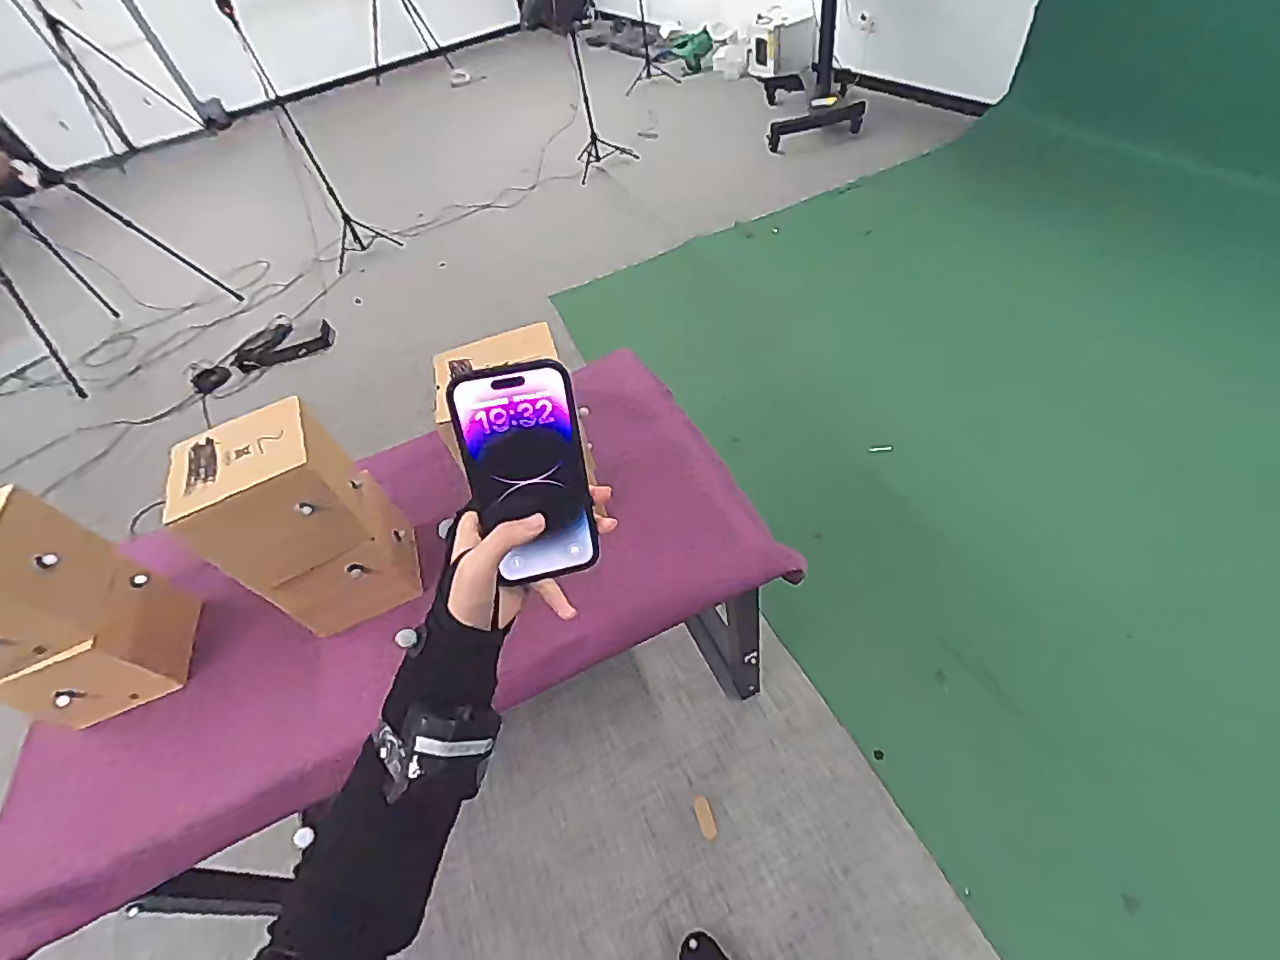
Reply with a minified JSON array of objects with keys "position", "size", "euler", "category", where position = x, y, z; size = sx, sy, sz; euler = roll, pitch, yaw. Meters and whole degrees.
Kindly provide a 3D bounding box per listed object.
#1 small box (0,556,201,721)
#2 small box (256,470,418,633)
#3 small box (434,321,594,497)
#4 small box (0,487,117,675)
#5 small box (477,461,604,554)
[{"position":[-0.849,0.259,0.858],"size":[0.168,0.176,0.179],"euler":[-23,49,-7],"category":"small box"},{"position":[-0.485,0.120,0.892],"size":[0.179,0.176,0.168],"euler":[-23,49,-7],"category":"small box"},{"position":[-0.183,-0.100,0.796],"size":[0.179,0.176,0.168],"euler":[-18,48,-4],"category":"small box"},{"position":[-0.880,0.148,0.741],"size":[0.168,0.176,0.179],"euler":[-26,50,-11],"category":"small box"},{"position":[-0.168,-0.001,0.927],"size":[0.179,0.176,0.168],"euler":[-19,48,-2],"category":"small box"}]
